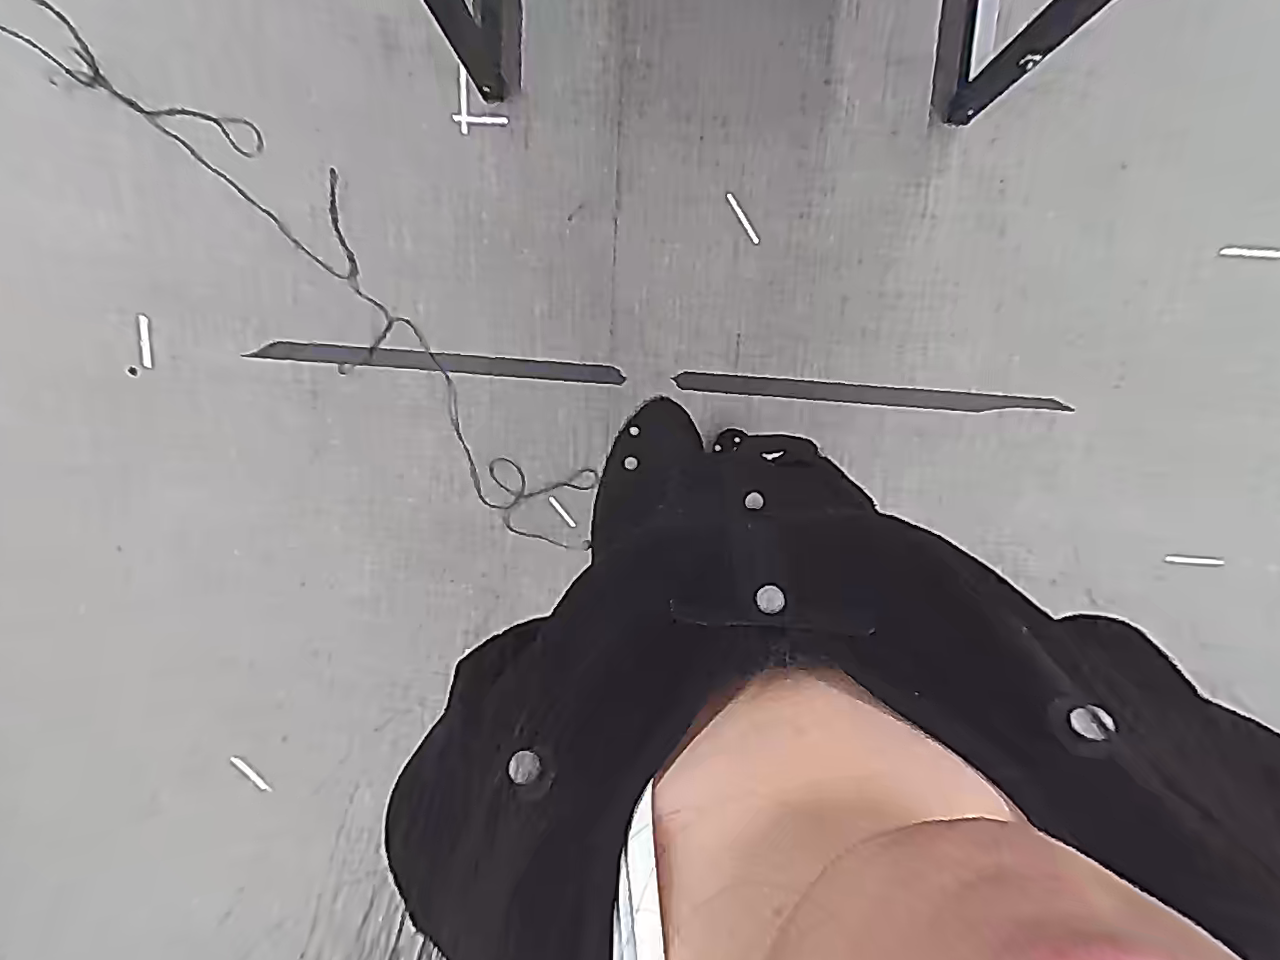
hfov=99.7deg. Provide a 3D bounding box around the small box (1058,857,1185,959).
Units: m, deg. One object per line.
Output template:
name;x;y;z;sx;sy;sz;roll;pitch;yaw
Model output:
small box;1.250;1.144;1.421;0.168;0.176;0.179;7;100;0

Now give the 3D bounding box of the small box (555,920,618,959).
small box;-0.150;1.373;1.505;0.168;0.176;0.179;0;101;2

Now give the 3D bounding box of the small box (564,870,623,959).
small box;-0.140;1.344;1.668;0.168;0.176;0.179;-1;101;3
